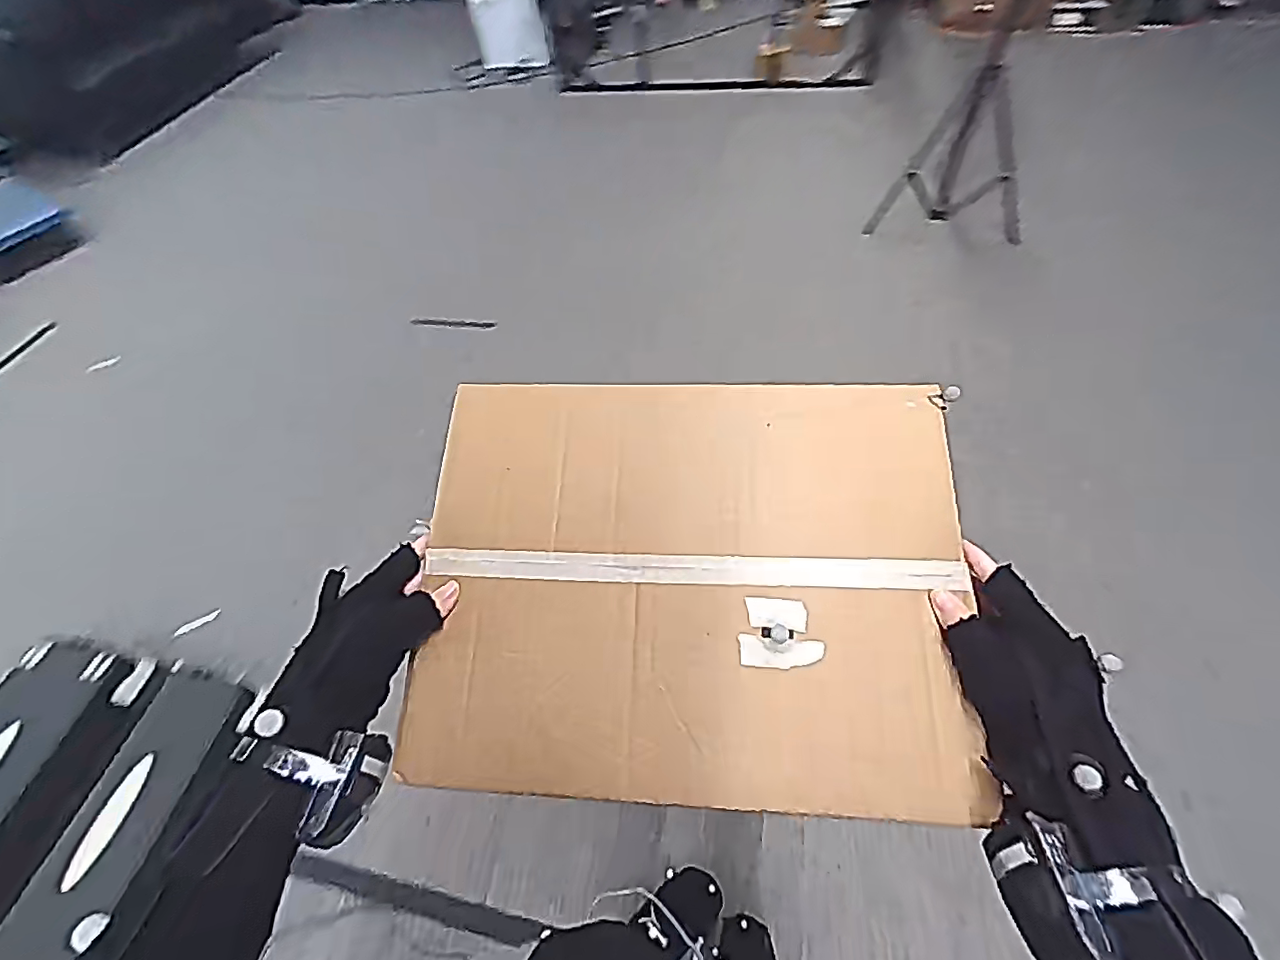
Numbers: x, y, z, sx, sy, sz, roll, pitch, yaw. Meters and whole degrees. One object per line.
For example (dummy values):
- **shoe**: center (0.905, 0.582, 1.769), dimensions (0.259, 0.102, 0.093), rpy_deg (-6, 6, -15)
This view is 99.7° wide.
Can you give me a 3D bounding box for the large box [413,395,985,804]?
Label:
- **large box**: center (0.045, 0.125, 0.561), dimensions (0.408, 0.320, 0.320), rpy_deg (0, 71, 5)
